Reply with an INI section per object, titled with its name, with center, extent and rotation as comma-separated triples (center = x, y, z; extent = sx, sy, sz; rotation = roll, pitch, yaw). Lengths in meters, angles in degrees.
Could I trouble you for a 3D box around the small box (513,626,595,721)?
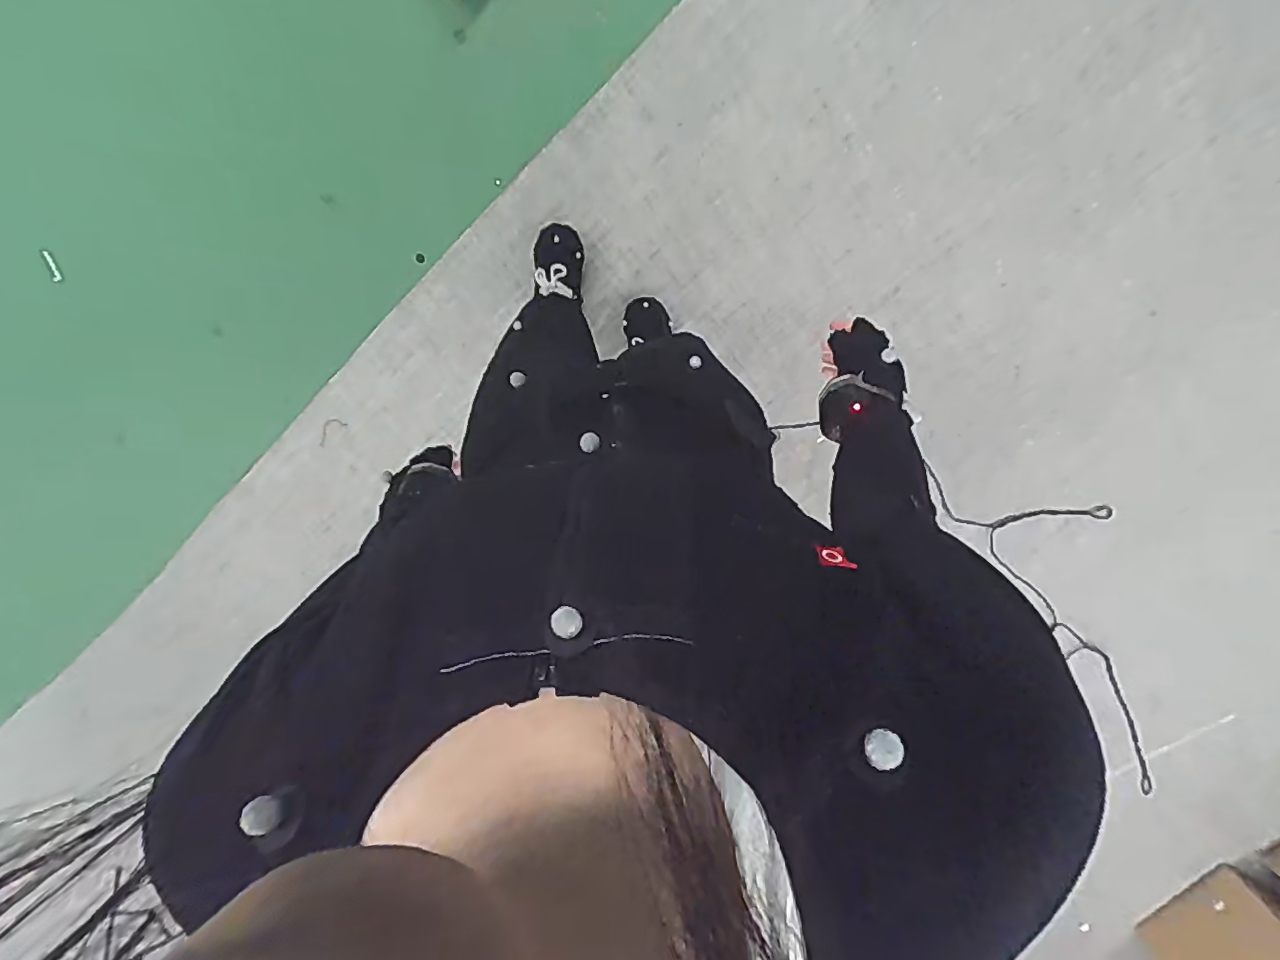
[small box]
center = -0.253, 0.583, 1.648
extent = 0.168, 0.176, 0.179
rotation = 43, 107, -11
